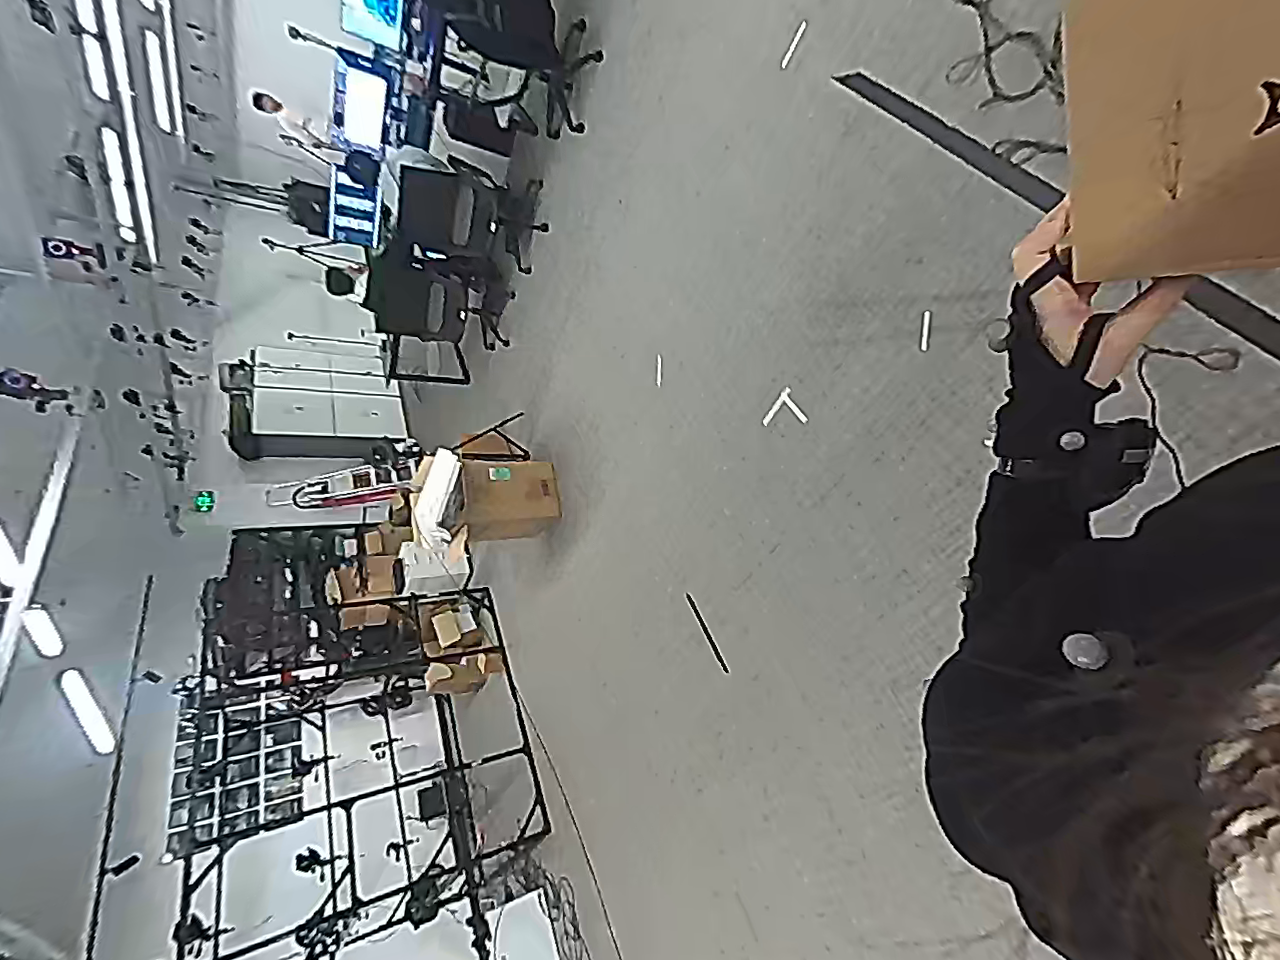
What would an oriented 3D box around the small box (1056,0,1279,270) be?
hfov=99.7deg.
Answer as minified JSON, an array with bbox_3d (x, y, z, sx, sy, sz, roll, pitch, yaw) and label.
[{"bbox_3d":[0.331,-0.229,0.257,0.179,0.176,0.168,15,147,49],"label":"small box"}]
